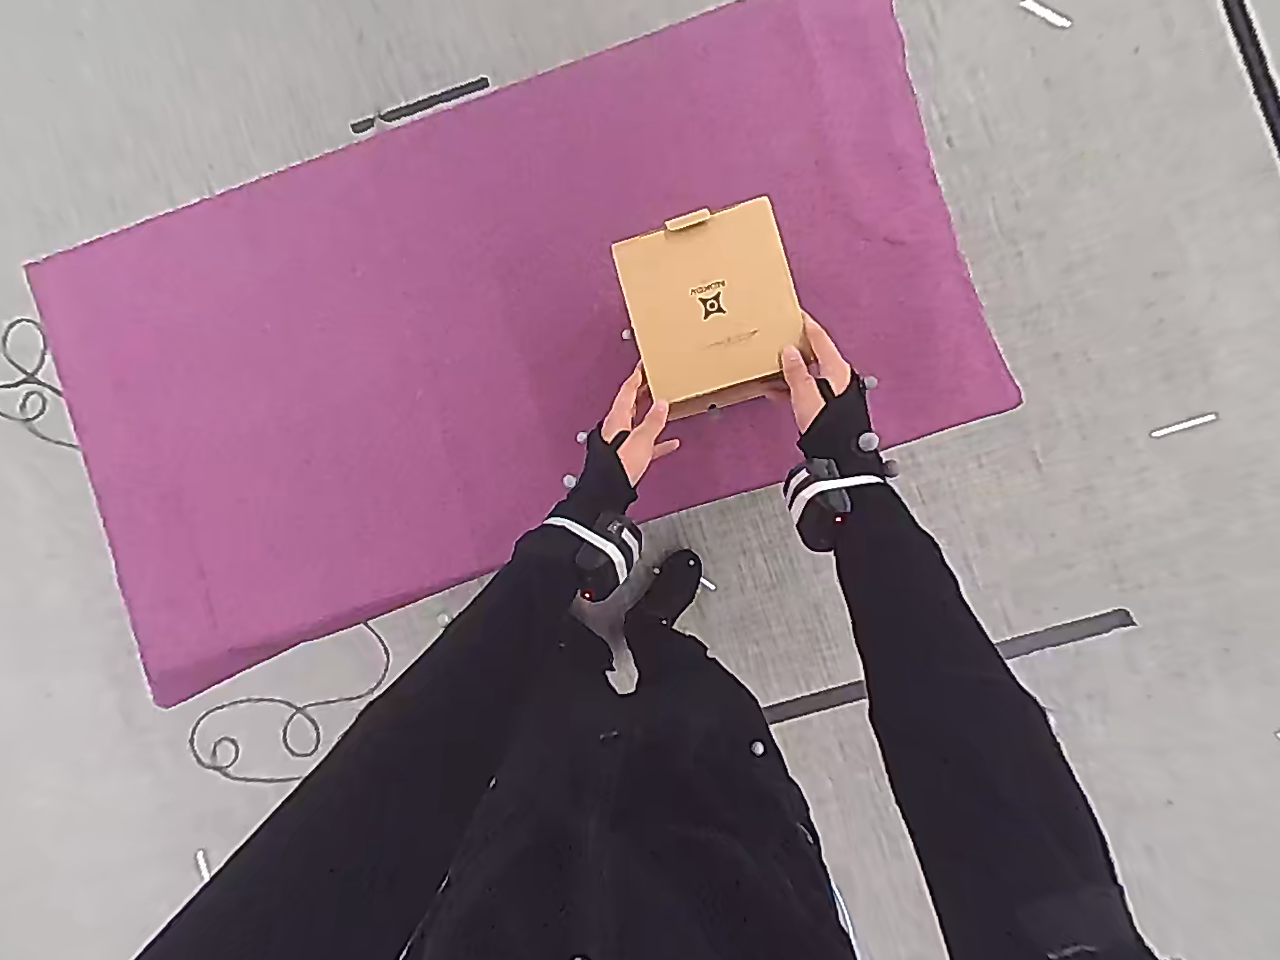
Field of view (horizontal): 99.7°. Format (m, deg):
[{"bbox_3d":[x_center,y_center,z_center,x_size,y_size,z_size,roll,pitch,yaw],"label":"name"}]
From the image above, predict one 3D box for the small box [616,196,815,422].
[{"bbox_3d":[0.078,-0.176,0.612,0.168,0.176,0.179,-14,89,5],"label":"small box"}]
